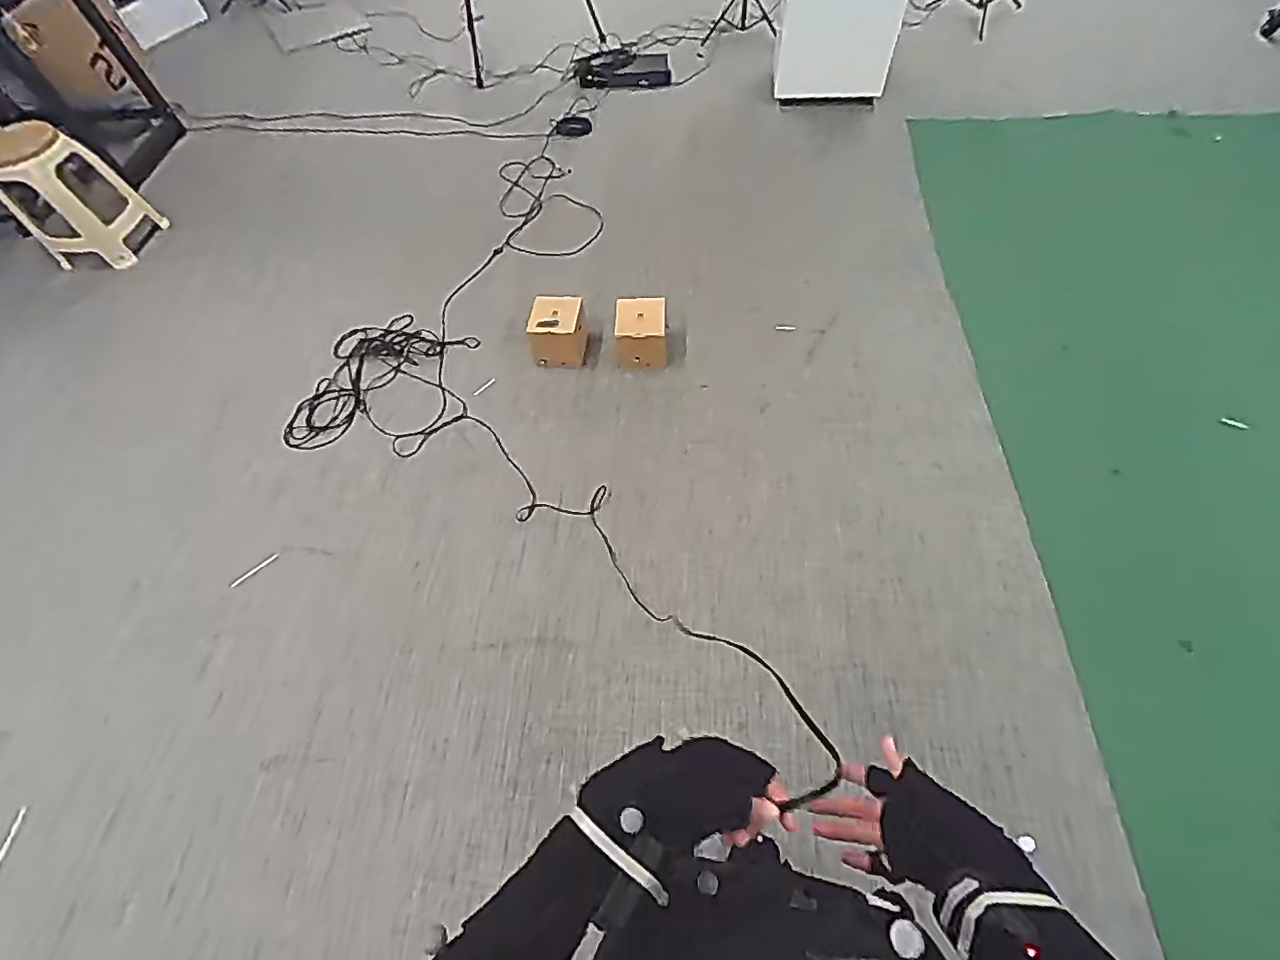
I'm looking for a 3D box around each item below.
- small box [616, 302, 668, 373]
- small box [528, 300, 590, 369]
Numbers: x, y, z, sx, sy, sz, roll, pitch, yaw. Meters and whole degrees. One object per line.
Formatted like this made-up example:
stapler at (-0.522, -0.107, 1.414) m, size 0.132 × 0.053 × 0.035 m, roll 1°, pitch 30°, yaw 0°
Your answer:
small box at (0.010, -0.495, 1.879) m, size 0.168 × 0.176 × 0.179 m, roll -1°, pitch 60°, yaw 4°
small box at (-0.279, -0.510, 1.907) m, size 0.168 × 0.176 × 0.179 m, roll 4°, pitch 59°, yaw 6°
